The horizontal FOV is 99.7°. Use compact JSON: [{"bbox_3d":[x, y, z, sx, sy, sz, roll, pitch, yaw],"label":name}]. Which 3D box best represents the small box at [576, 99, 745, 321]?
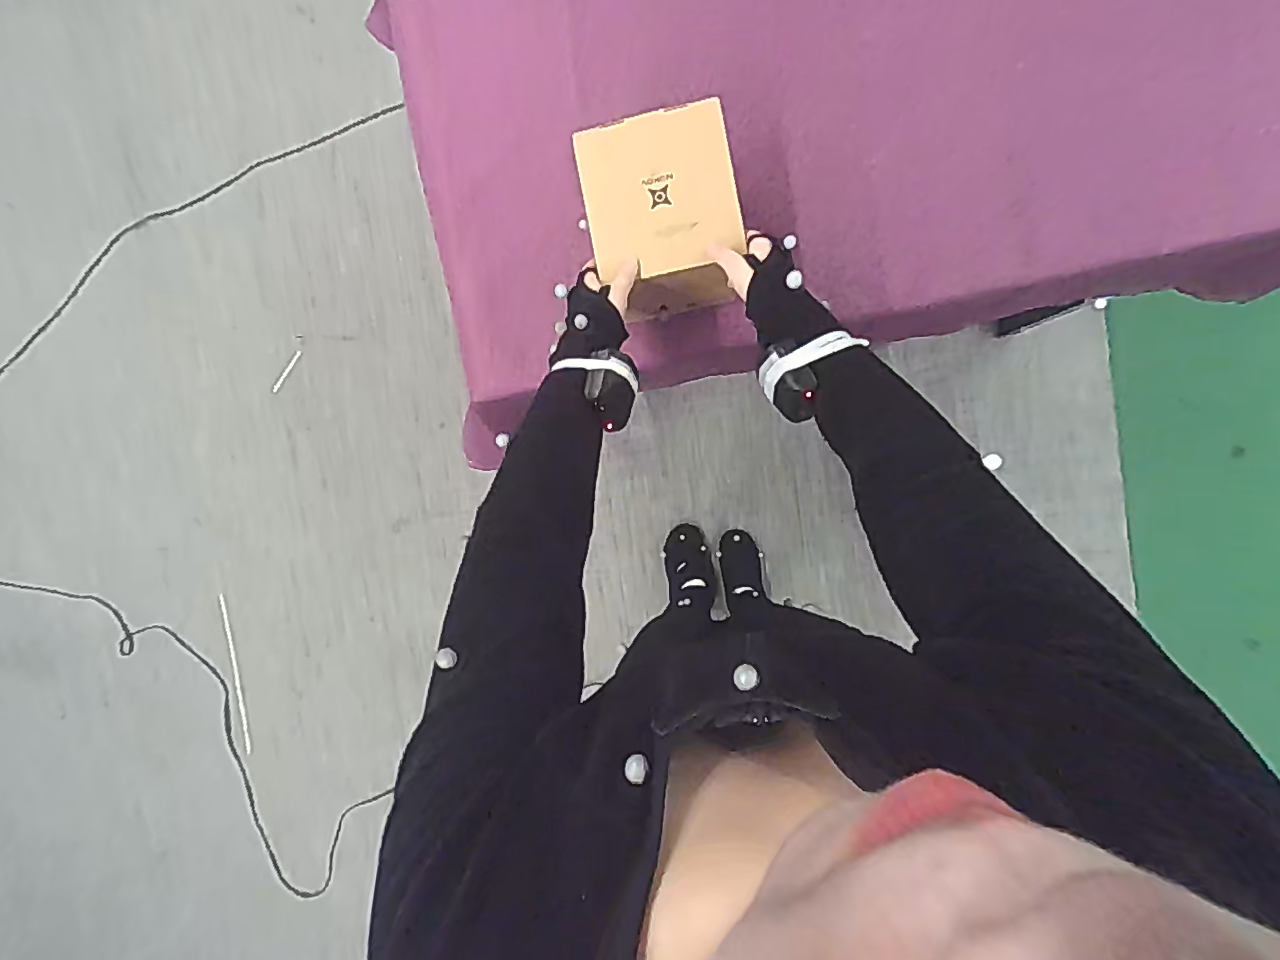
[{"bbox_3d":[0.028,-0.316,0.669,0.168,0.176,0.179,-10,92,6],"label":"small box"}]
